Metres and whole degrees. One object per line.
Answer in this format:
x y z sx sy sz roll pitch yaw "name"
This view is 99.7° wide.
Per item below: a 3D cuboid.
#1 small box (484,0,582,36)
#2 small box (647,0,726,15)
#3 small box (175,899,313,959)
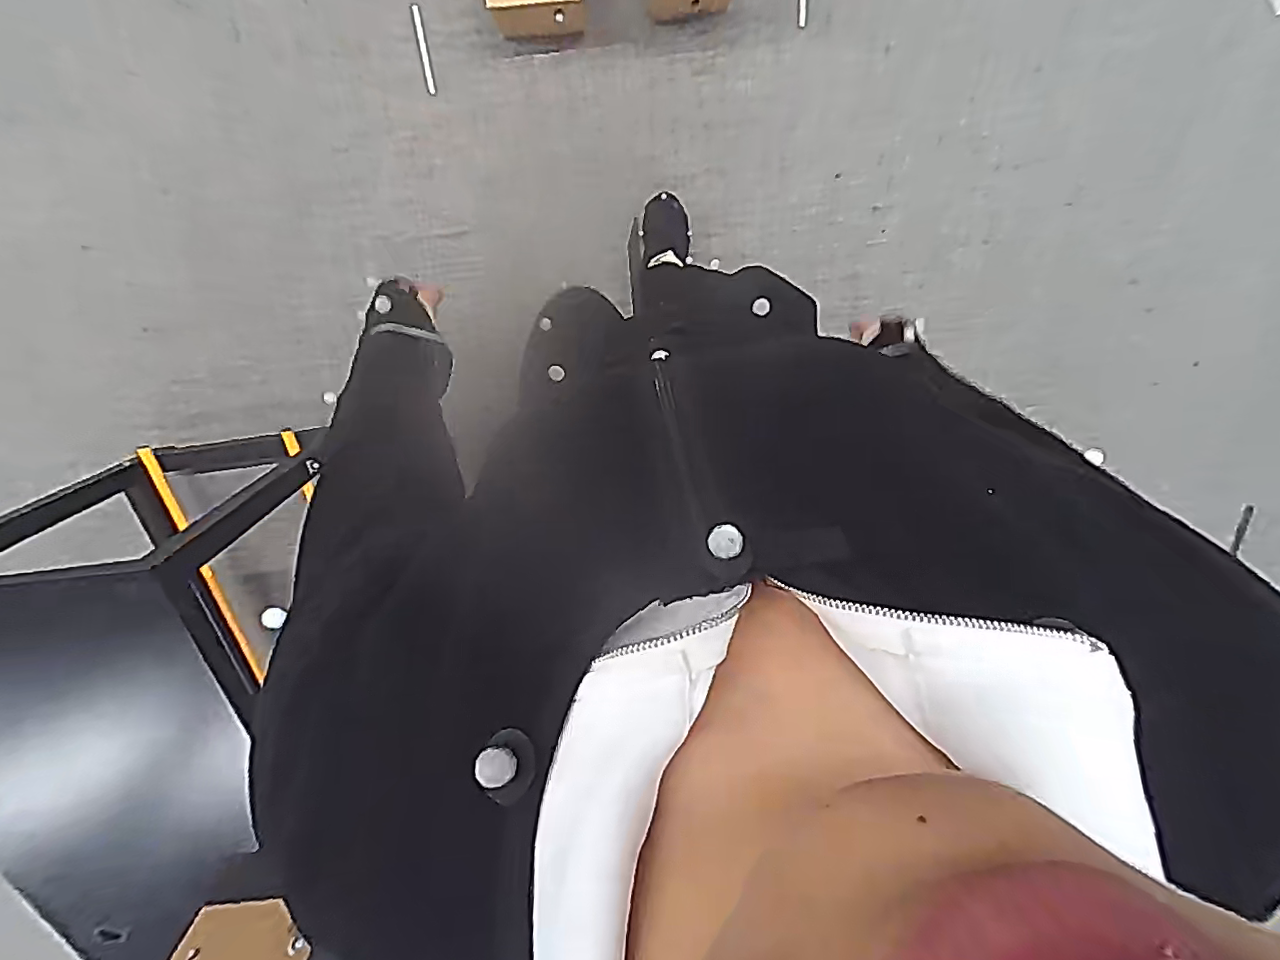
-0.204 -0.967 1.014 0.179 0.176 0.168 -5 114 0 "small box"
0.091 -1.010 1.013 0.168 0.176 0.179 -9 115 1 "small box"
-0.793 0.969 1.064 0.179 0.176 0.168 -7 115 0 "small box"
